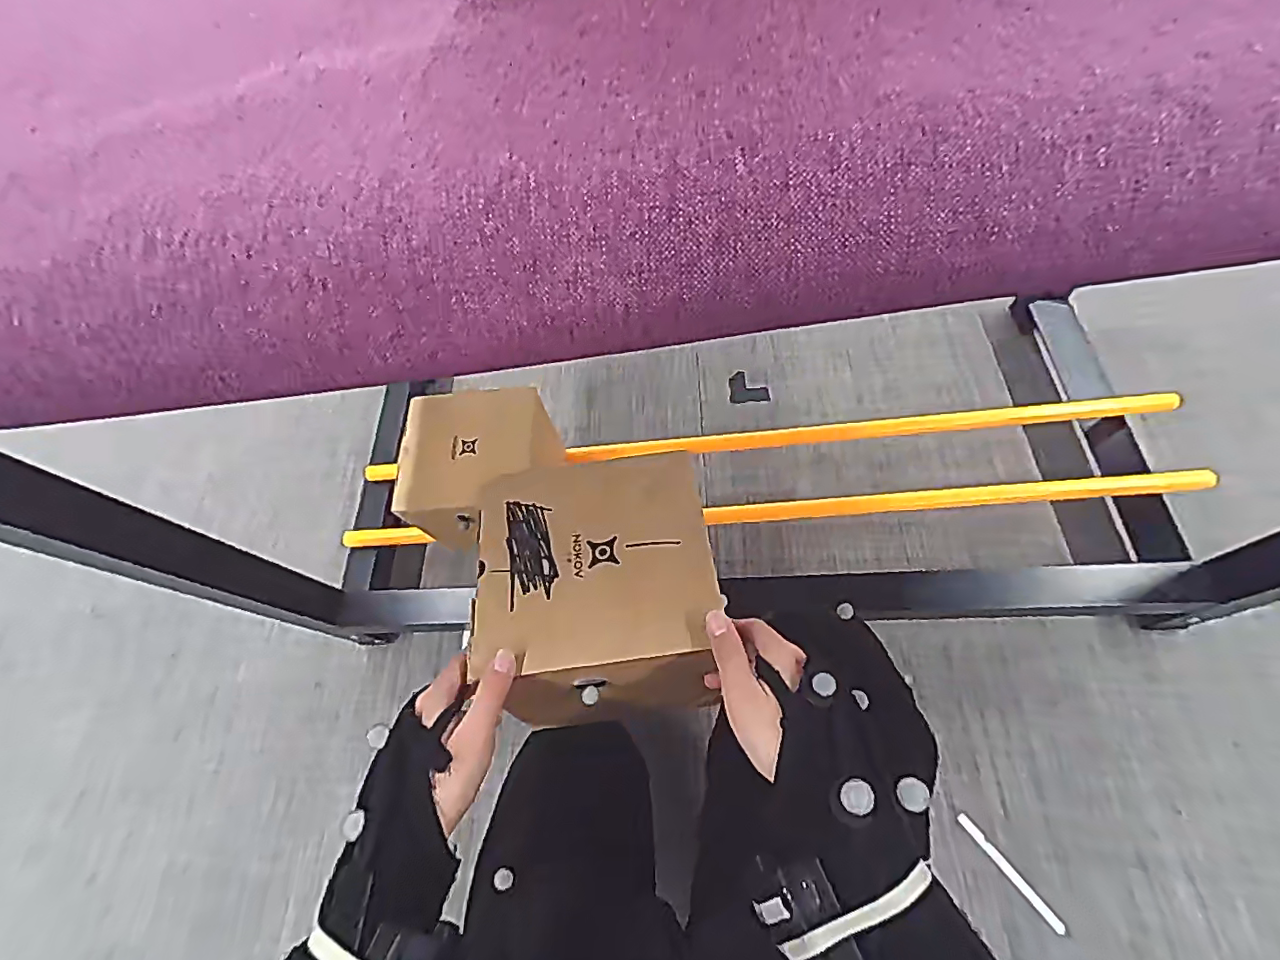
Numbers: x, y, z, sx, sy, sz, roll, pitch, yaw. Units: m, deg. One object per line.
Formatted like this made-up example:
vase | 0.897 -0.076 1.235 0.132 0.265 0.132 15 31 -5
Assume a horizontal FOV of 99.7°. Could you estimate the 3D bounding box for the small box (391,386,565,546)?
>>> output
small box | -0.209 -0.011 0.754 0.179 0.176 0.168 -4 65 7
